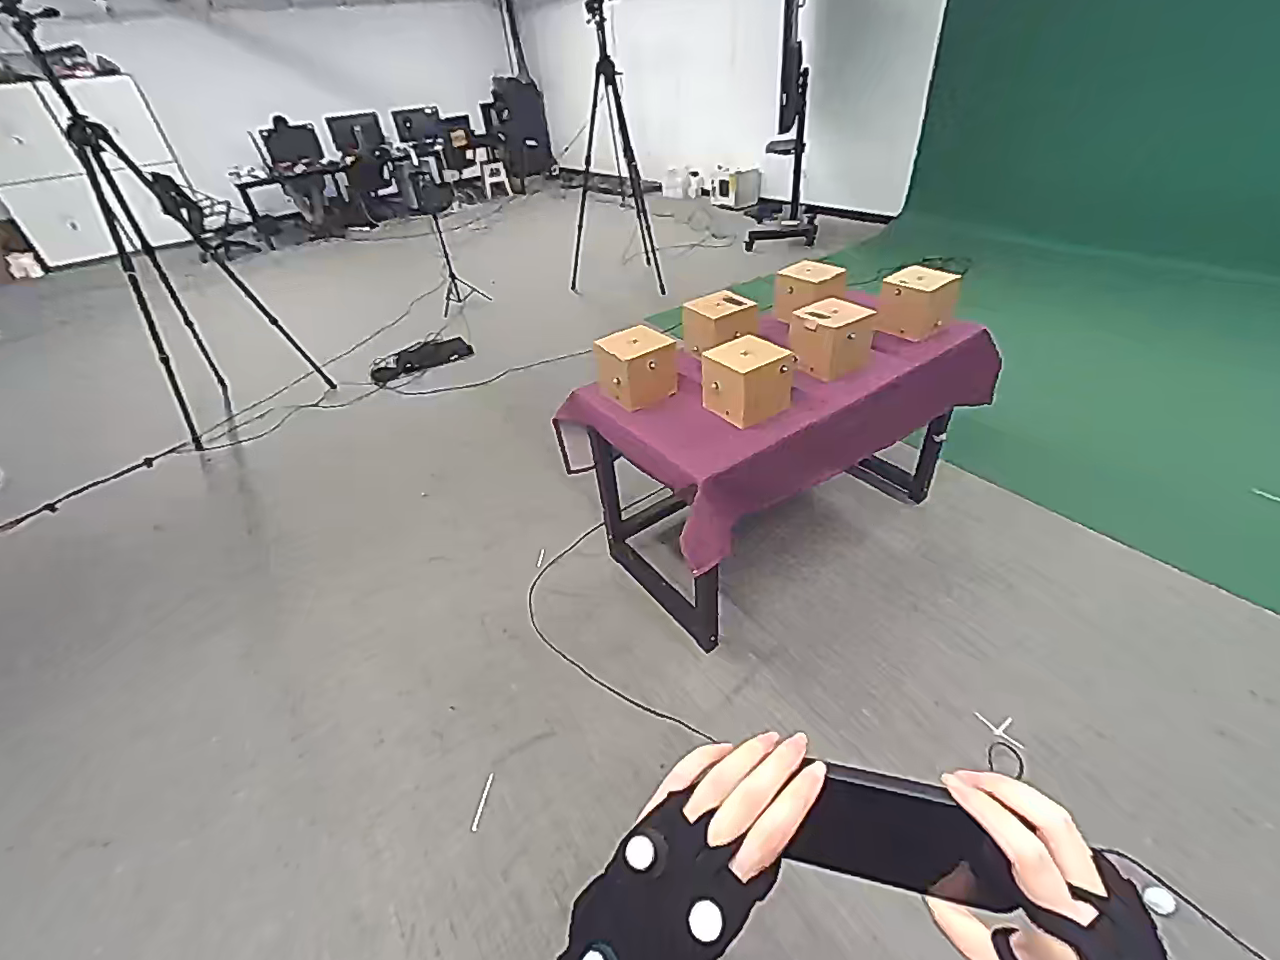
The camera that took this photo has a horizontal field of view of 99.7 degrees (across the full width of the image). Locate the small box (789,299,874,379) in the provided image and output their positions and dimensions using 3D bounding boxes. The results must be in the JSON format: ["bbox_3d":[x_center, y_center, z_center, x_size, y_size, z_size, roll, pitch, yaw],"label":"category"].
[{"bbox_3d":[0.563,-0.419,1.612,0.179,0.176,0.168,-24,41,-22],"label":"small box"}]

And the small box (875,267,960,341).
[{"bbox_3d":[0.892,-0.573,1.756,0.179,0.176,0.168,-28,42,-25],"label":"small box"}]

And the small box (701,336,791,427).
[{"bbox_3d":[0.285,-0.265,1.459,0.179,0.176,0.168,-25,42,-24],"label":"small box"}]

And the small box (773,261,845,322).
[{"bbox_3d":[0.586,-0.648,1.896,0.168,0.176,0.179,-29,44,-26],"label":"small box"}]
